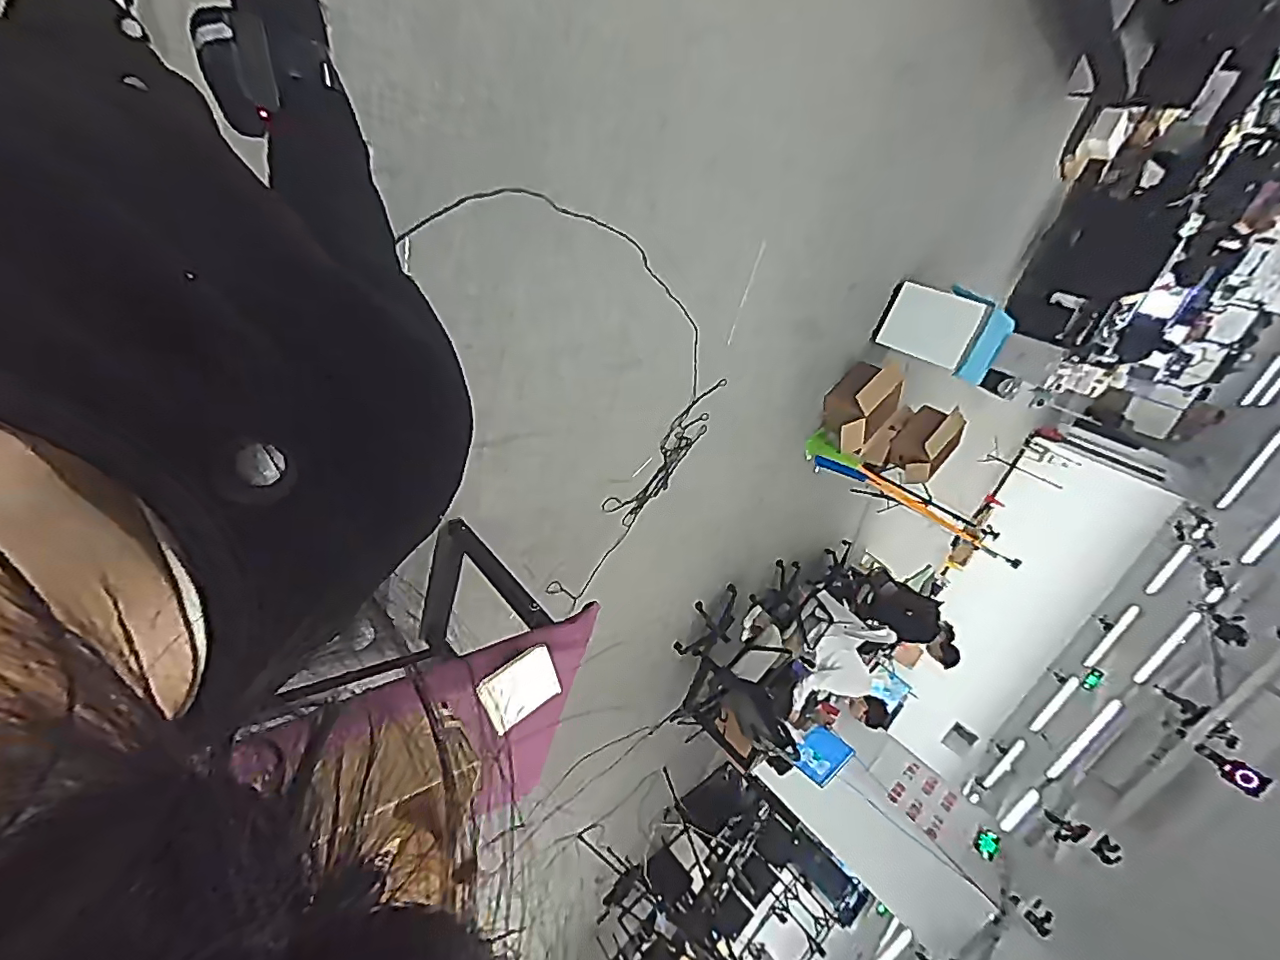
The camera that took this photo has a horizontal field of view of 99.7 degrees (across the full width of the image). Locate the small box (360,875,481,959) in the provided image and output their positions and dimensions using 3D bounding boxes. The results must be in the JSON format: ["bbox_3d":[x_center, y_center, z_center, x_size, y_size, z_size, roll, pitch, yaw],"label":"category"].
[{"bbox_3d":[-0.461,0.977,1.126,0.168,0.176,0.179,-4,120,-48],"label":"small box"}]
